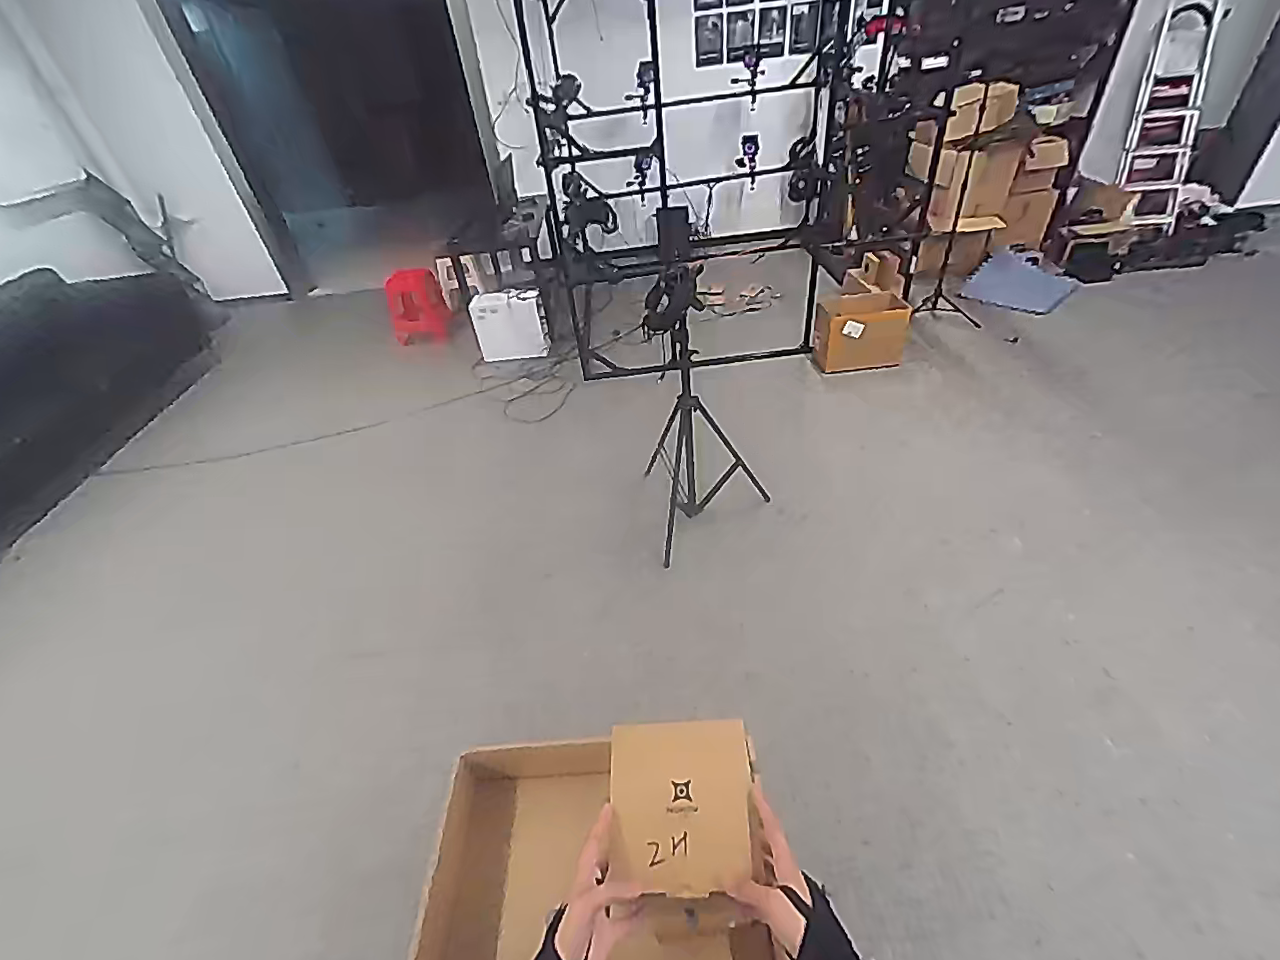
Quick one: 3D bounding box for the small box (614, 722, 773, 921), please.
[{"bbox_3d":[0.062,0.421,0.666,0.168,0.176,0.179,-6,46,4],"label":"small box"}]
